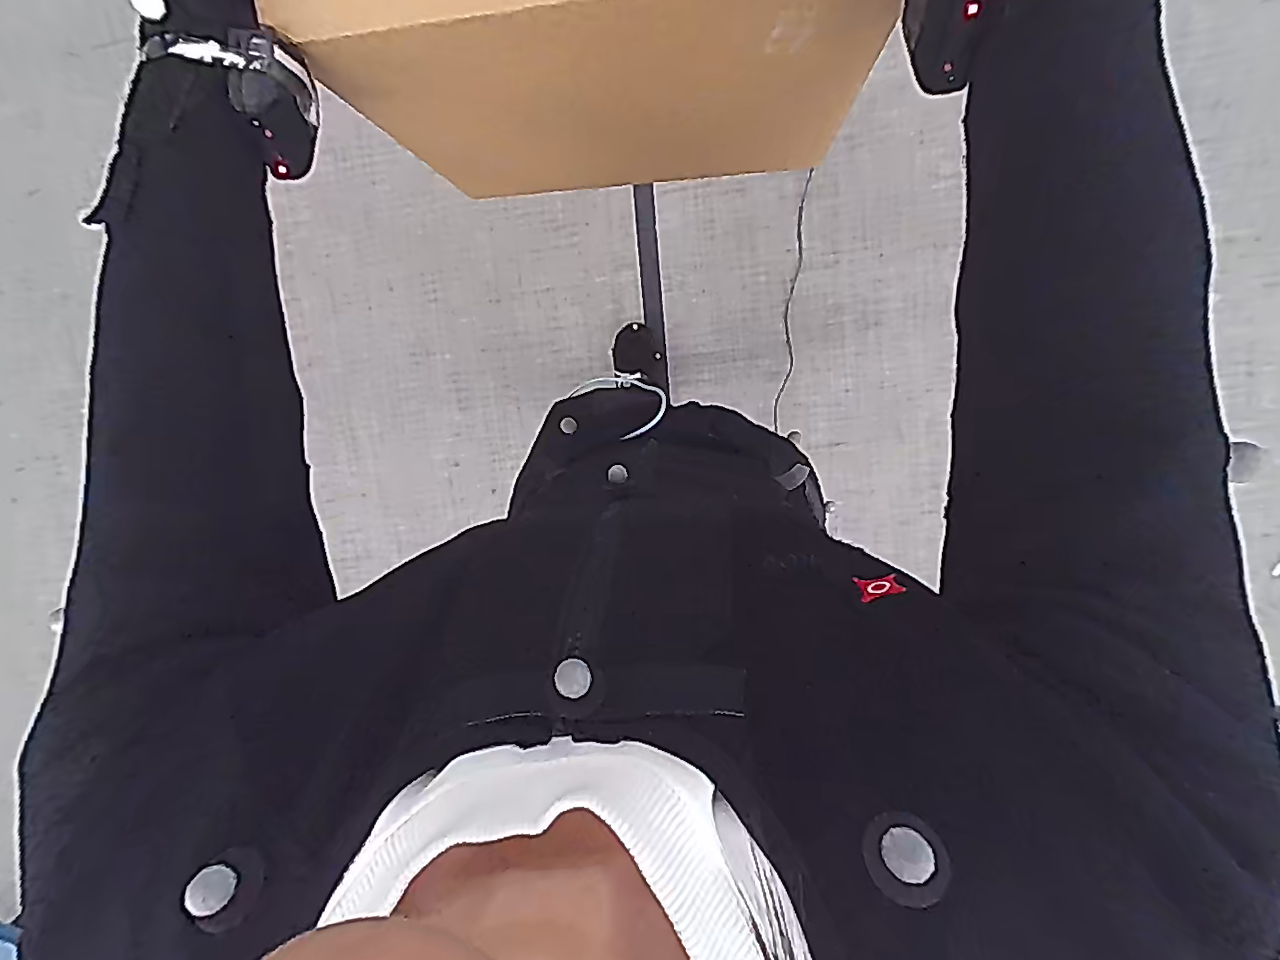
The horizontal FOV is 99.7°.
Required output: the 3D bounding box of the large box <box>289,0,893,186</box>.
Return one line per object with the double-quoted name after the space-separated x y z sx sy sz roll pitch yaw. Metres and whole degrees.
-0.024 -0.477 0.445 0.408 0.320 0.320 -2 101 6 "large box"
